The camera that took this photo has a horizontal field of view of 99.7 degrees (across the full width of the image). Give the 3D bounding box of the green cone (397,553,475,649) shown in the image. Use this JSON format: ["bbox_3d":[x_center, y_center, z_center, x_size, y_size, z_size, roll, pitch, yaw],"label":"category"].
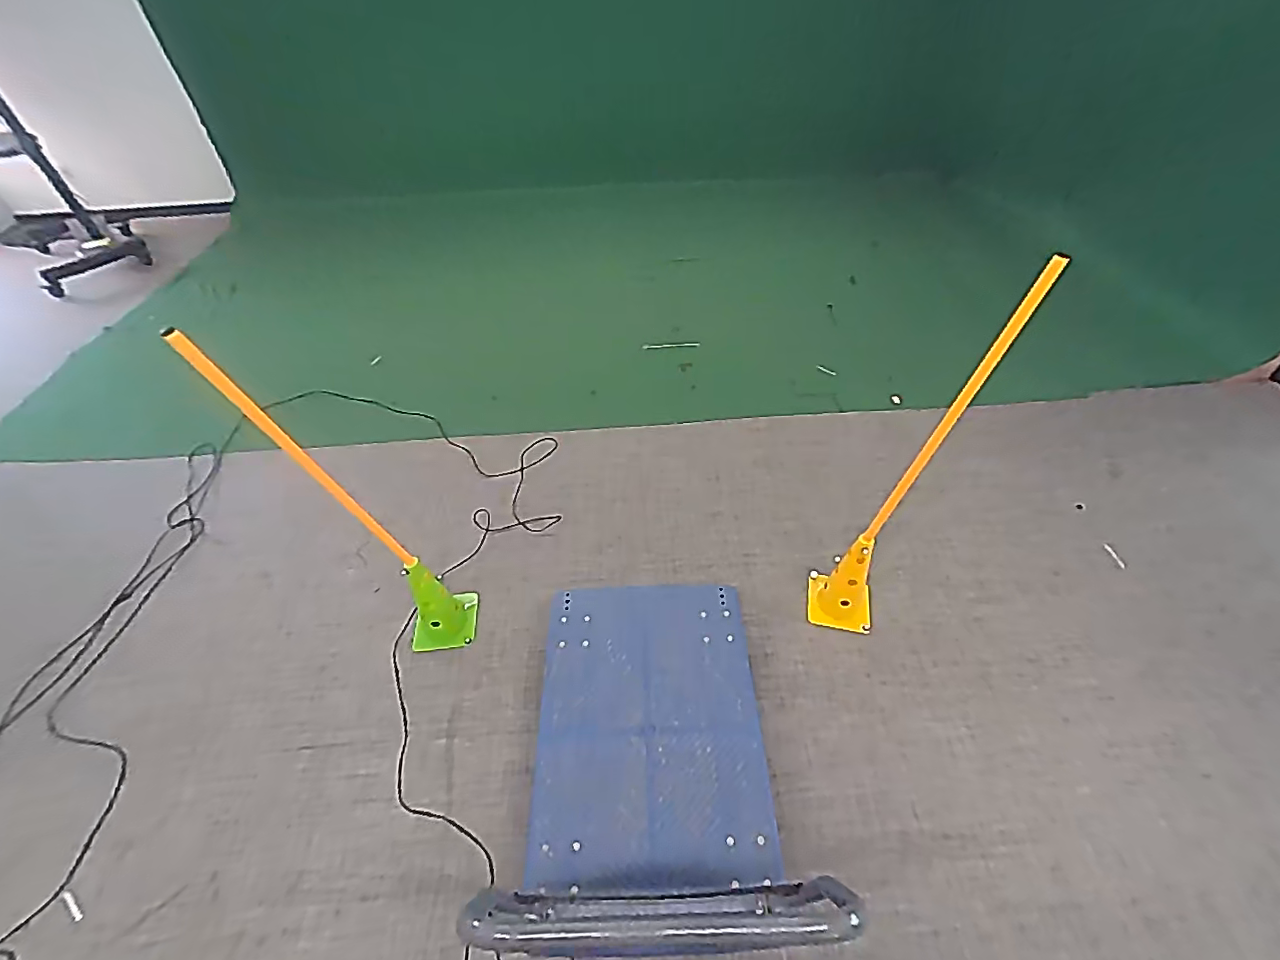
[{"bbox_3d":[-0.669,0.346,1.693,0.202,0.368,0.200,-8,46,-3],"label":"green cone"}]
